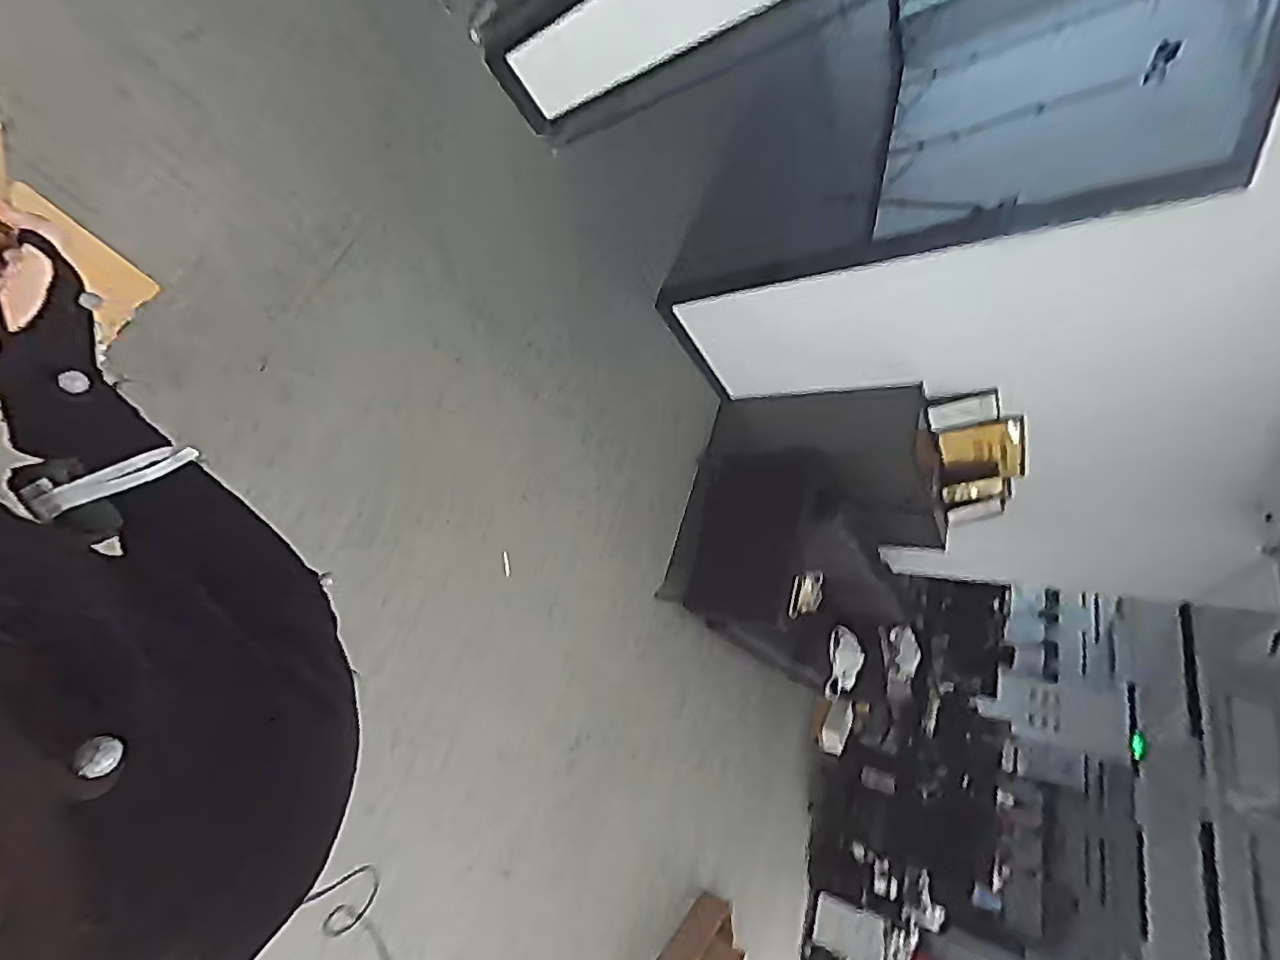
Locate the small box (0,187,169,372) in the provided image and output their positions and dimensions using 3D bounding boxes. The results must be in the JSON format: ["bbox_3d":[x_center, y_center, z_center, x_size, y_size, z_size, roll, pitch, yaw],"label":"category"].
[{"bbox_3d":[-0.849,-0.273,0.776,0.179,0.176,0.168,50,53,-41],"label":"small box"}]

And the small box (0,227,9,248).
[{"bbox_3d":[-0.551,-0.219,0.318,0.176,0.168,0.179,66,7,15],"label":"small box"}]

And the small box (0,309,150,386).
[{"bbox_3d":[-0.972,-0.270,0.883,0.179,0.176,0.168,46,57,-43],"label":"small box"}]
